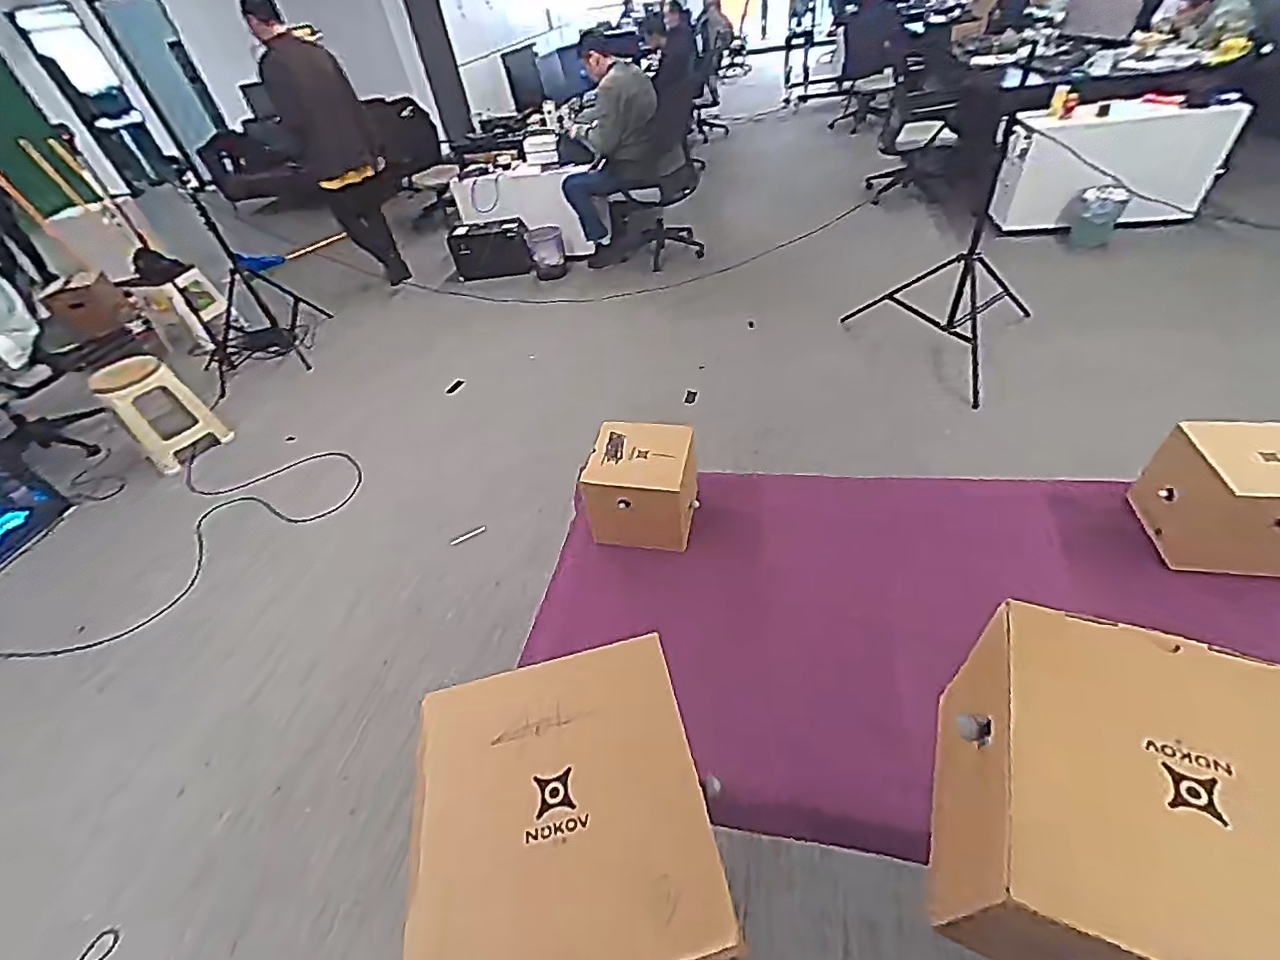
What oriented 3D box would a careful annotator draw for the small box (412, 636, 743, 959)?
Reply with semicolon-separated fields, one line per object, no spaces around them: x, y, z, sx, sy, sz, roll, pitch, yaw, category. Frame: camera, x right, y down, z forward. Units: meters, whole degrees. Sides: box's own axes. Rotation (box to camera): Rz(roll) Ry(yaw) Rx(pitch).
-0.036;0.242;0.367;0.168;0.176;0.179;-13;43;-6;small box

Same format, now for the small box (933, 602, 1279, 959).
0.294;0.212;0.335;0.168;0.176;0.179;13;49;22;small box

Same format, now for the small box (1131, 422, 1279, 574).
0.910;0.028;0.829;0.179;0.176;0.168;3;45;12;small box

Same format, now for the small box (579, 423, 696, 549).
0.005;0.013;1.008;0.179;0.176;0.168;5;47;13;small box
